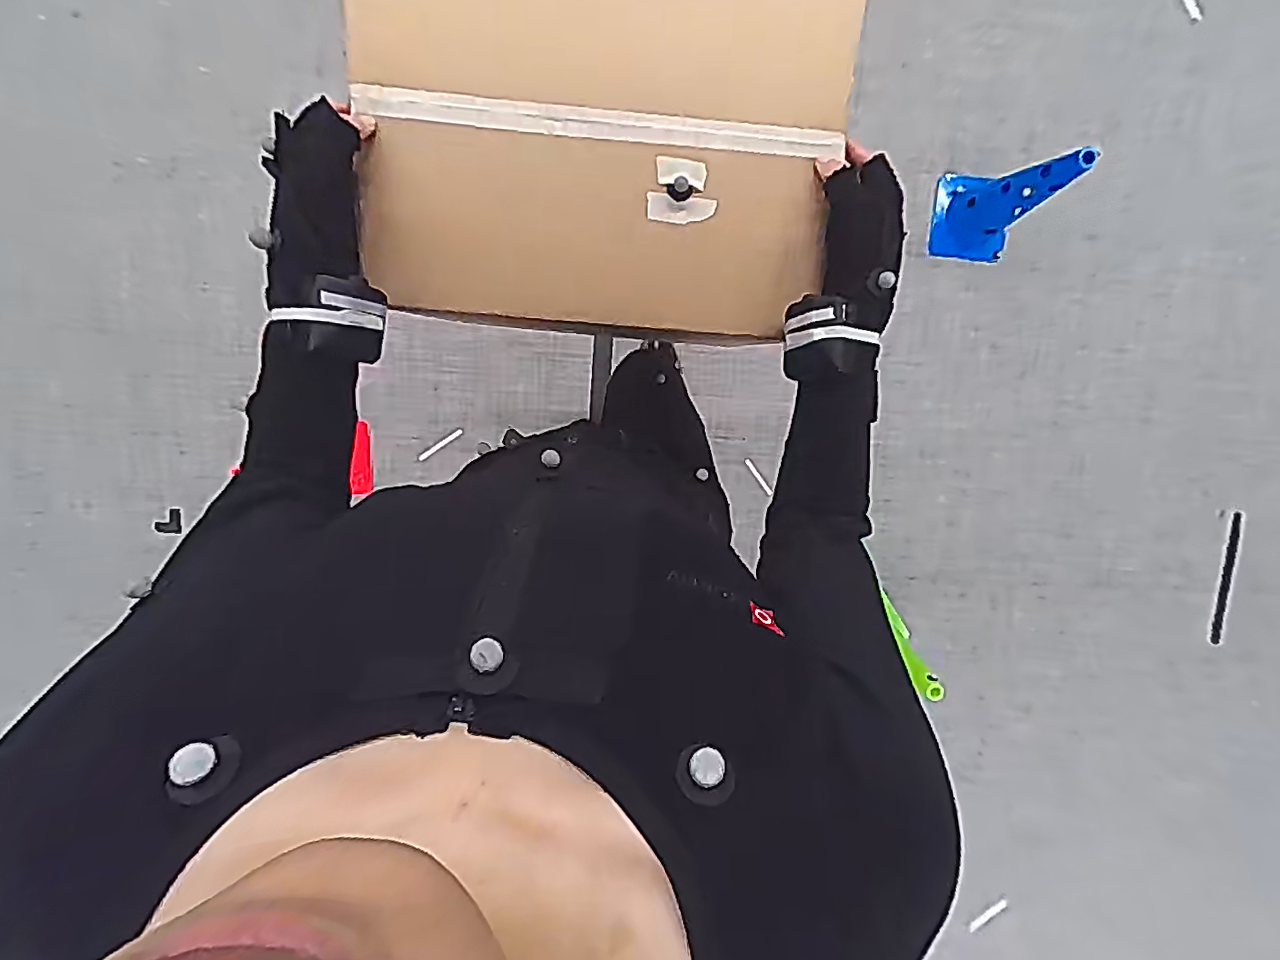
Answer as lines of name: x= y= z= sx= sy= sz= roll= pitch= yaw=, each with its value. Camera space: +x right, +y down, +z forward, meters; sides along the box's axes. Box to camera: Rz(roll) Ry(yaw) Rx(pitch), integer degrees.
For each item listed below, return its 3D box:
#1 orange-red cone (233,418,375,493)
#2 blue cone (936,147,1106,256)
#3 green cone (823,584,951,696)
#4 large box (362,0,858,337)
orange-red cone: x=-0.802 y=-0.035 z=1.261 sx=0.198 sy=0.360 sz=0.199 roll=1 pitch=100 yaw=-1
blue cone: x=0.875 y=-0.660 z=1.237 sx=0.192 sy=0.380 sz=0.193 roll=6 pitch=98 yaw=-4
green cone: x=0.656 y=0.443 z=1.372 sx=0.202 sy=0.368 sz=0.200 roll=-34 pitch=98 yaw=2
large box: x=-0.035 y=-0.333 z=0.596 sx=0.408 sy=0.320 sz=0.320 roll=4 pitch=103 yaw=-4
